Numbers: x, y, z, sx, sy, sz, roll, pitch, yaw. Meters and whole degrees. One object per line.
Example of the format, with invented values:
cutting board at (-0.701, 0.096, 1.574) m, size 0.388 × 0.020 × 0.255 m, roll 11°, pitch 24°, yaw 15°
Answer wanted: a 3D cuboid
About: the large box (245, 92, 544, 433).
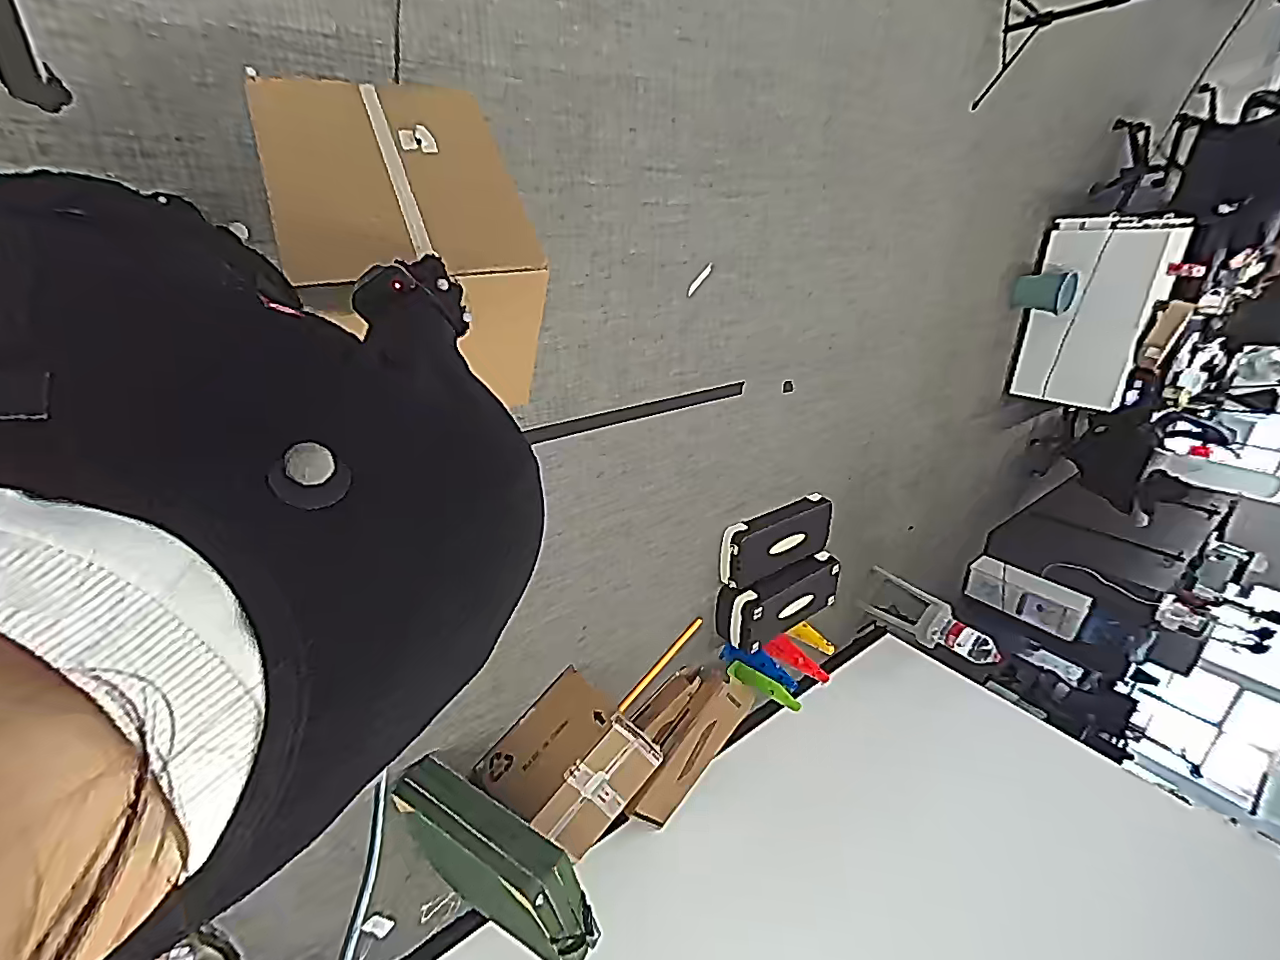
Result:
large box at (-0.384, -0.345, 0.880) m, size 0.320 × 0.408 × 0.320 m, roll -15°, pitch 156°, yaw -26°
